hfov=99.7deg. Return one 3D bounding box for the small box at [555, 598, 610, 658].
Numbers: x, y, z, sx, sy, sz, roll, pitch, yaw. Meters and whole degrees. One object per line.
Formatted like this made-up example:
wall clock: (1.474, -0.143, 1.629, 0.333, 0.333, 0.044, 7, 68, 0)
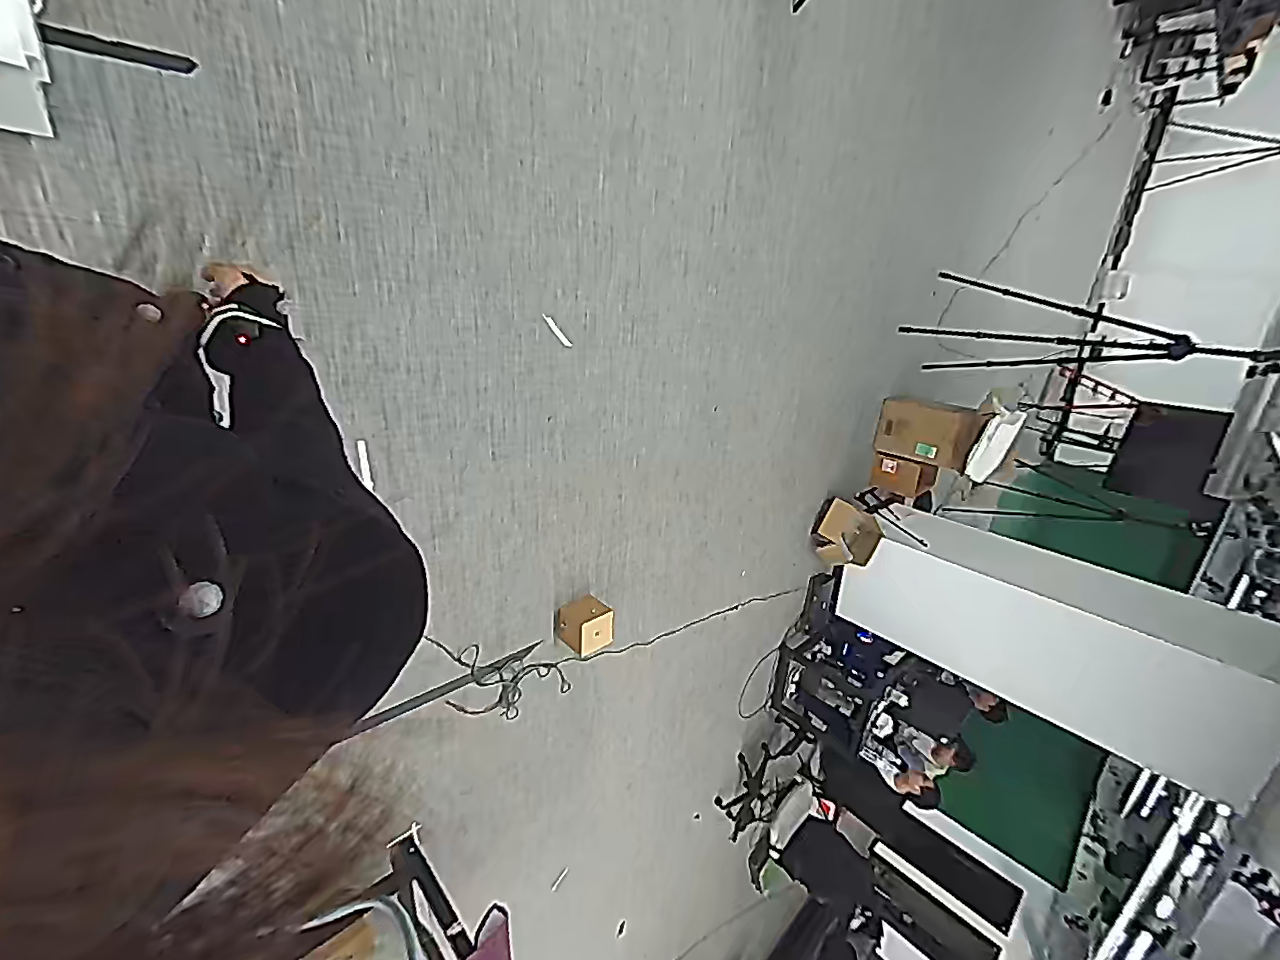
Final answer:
small box: (-0.252, 0.638, 2.358, 0.179, 0.176, 0.168, -14, 116, -42)
